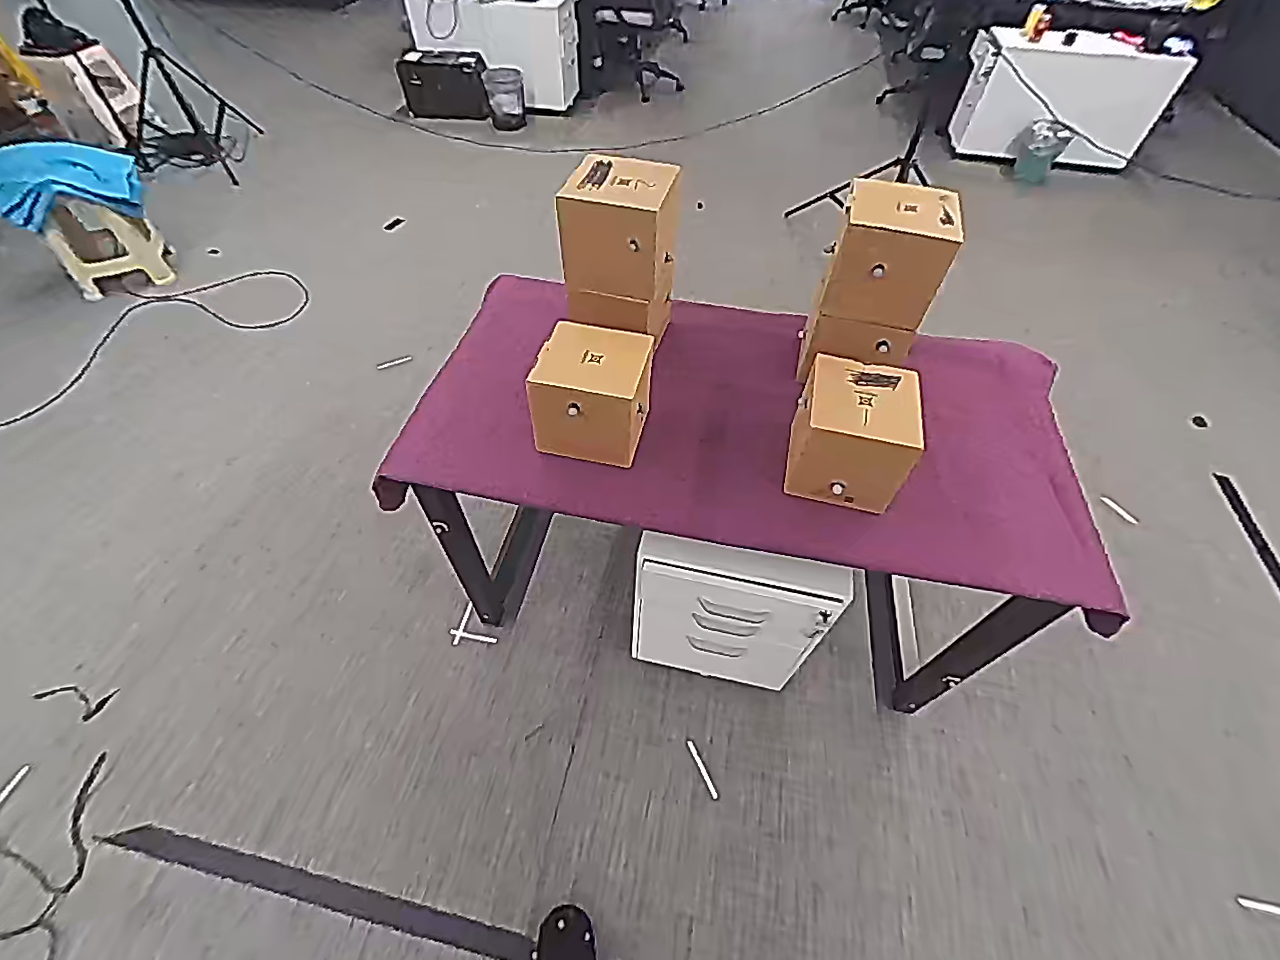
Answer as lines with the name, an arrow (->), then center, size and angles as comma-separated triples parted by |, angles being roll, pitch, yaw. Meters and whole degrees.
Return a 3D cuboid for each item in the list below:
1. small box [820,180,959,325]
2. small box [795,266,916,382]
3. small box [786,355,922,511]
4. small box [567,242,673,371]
small box -> 0.424, -0.394, 0.943 | 0.179, 0.176, 0.168 | 13, 54, 10
small box -> 0.422, -0.293, 1.072 | 0.179, 0.176, 0.168 | 12, 53, 9
small box -> 0.348, -0.077, 0.903 | 0.168, 0.176, 0.179 | 12, 52, 8
small box -> -0.037, -0.355, 1.111 | 0.168, 0.176, 0.179 | 14, 56, 10
